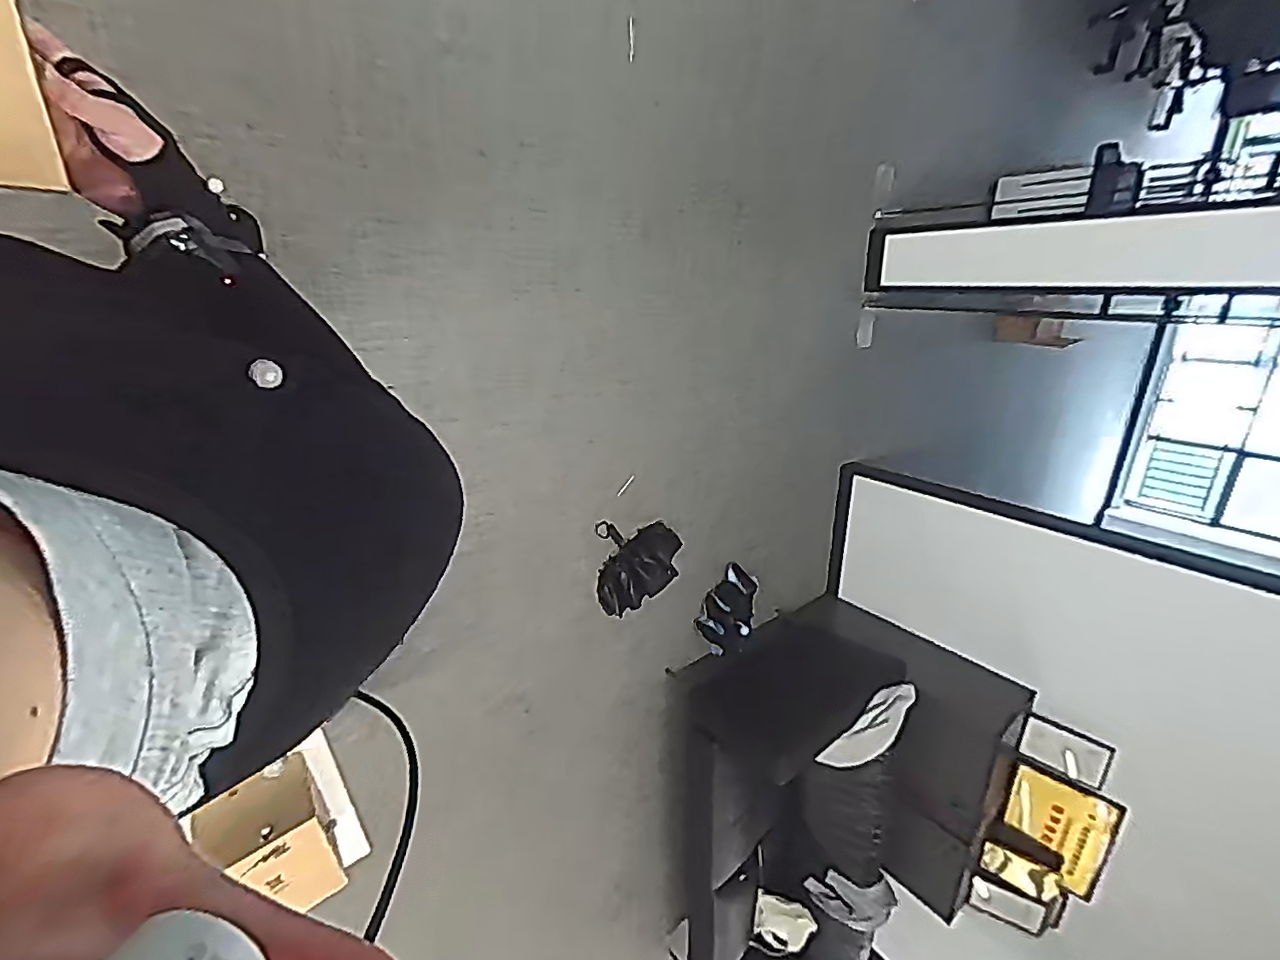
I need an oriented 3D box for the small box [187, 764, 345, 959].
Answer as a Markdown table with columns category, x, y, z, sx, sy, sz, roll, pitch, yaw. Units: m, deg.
| category | x | y | z | sx | sy | sz | roll | pitch | yaw |
| --- | --- | --- | --- | --- | --- | --- | --- | --- | --- |
| small box | -0.616 | 0.623 | 0.899 | 0.168 | 0.176 | 0.179 | -22 | 119 | -32 |
